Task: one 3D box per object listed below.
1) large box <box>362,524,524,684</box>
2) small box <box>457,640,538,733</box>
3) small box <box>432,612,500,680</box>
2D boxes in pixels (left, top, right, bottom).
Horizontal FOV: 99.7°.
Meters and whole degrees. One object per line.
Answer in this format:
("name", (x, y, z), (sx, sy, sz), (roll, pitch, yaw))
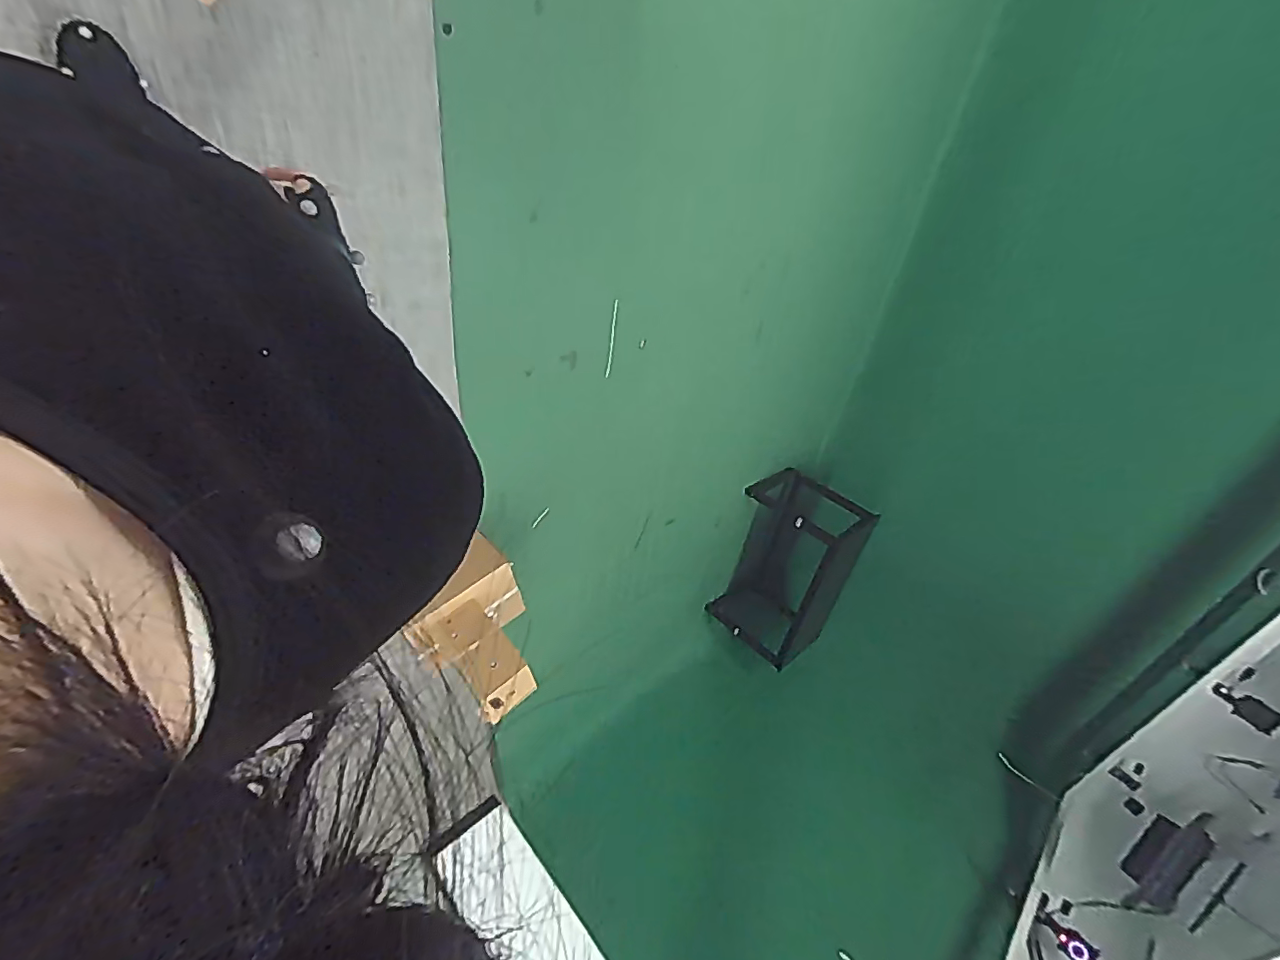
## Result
("large box", (-0.701, 0.439, 1.961), (0.408, 0.320, 0.320), (-36, 143, -29))
("small box", (-0.453, 0.647, 1.707), (0.179, 0.176, 0.168), (-35, 141, -28))
("small box", (-0.564, 0.566, 1.797), (0.168, 0.176, 0.179), (-34, 141, -29))
